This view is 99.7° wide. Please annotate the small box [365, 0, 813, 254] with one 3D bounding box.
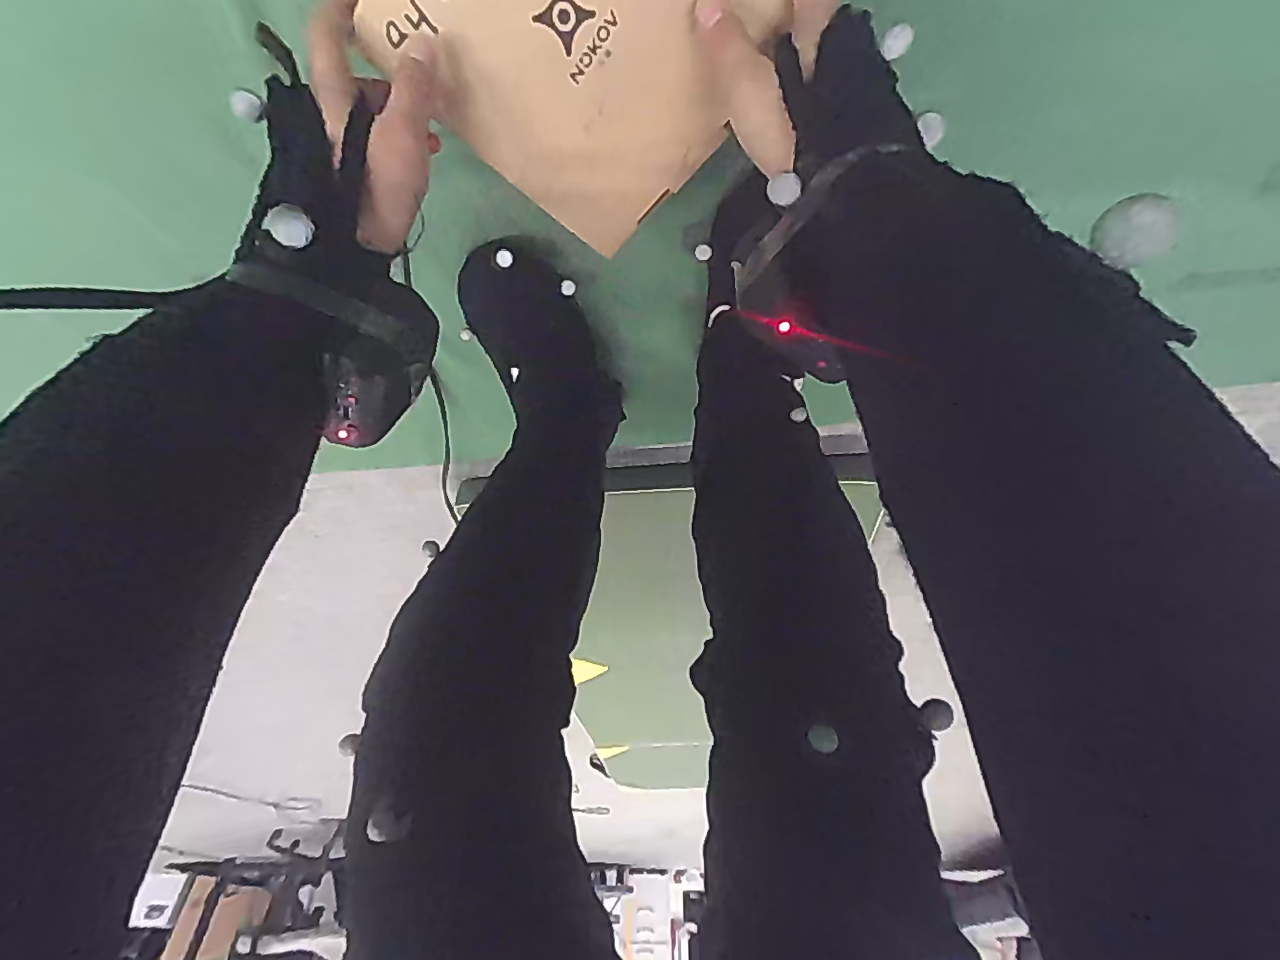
[{"bbox_3d":[-0.026,-0.288,0.330,0.179,0.176,0.168,30,131,-31],"label":"small box"}]
